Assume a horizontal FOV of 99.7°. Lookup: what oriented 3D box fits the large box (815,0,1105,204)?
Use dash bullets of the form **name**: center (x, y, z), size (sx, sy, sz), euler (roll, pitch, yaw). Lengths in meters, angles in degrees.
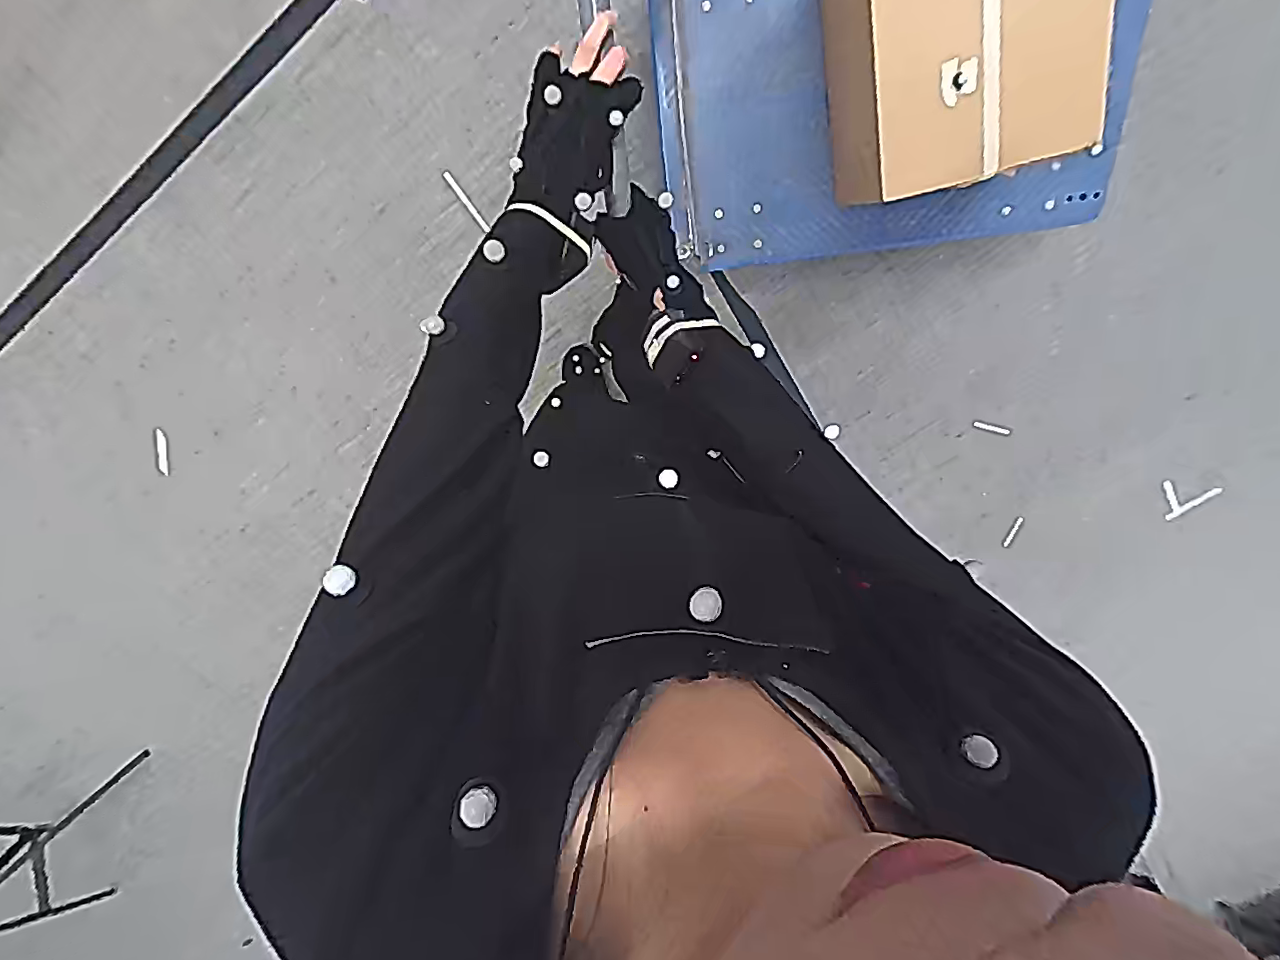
- **large box**: center (0.495, -0.715, 0.891), size (0.320, 0.320, 0.408), euler (-11, 115, 11)
